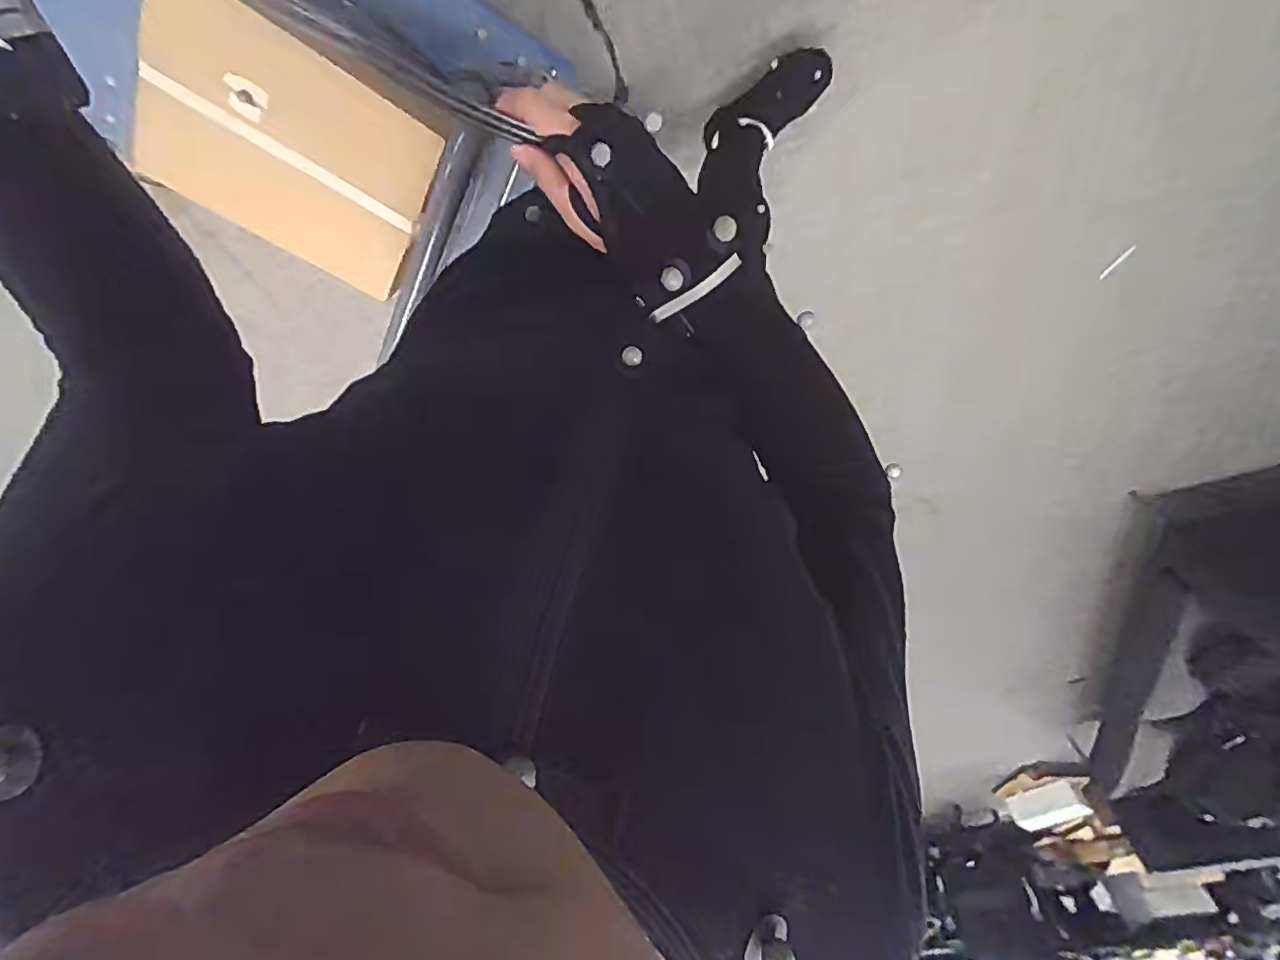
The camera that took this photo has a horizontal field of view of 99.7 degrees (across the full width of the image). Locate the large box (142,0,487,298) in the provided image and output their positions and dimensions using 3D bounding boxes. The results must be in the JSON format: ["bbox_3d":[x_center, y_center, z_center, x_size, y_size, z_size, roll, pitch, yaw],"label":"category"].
[{"bbox_3d":[-0.540,-0.603,0.960,0.408,0.320,0.320,27,123,-21],"label":"large box"}]
